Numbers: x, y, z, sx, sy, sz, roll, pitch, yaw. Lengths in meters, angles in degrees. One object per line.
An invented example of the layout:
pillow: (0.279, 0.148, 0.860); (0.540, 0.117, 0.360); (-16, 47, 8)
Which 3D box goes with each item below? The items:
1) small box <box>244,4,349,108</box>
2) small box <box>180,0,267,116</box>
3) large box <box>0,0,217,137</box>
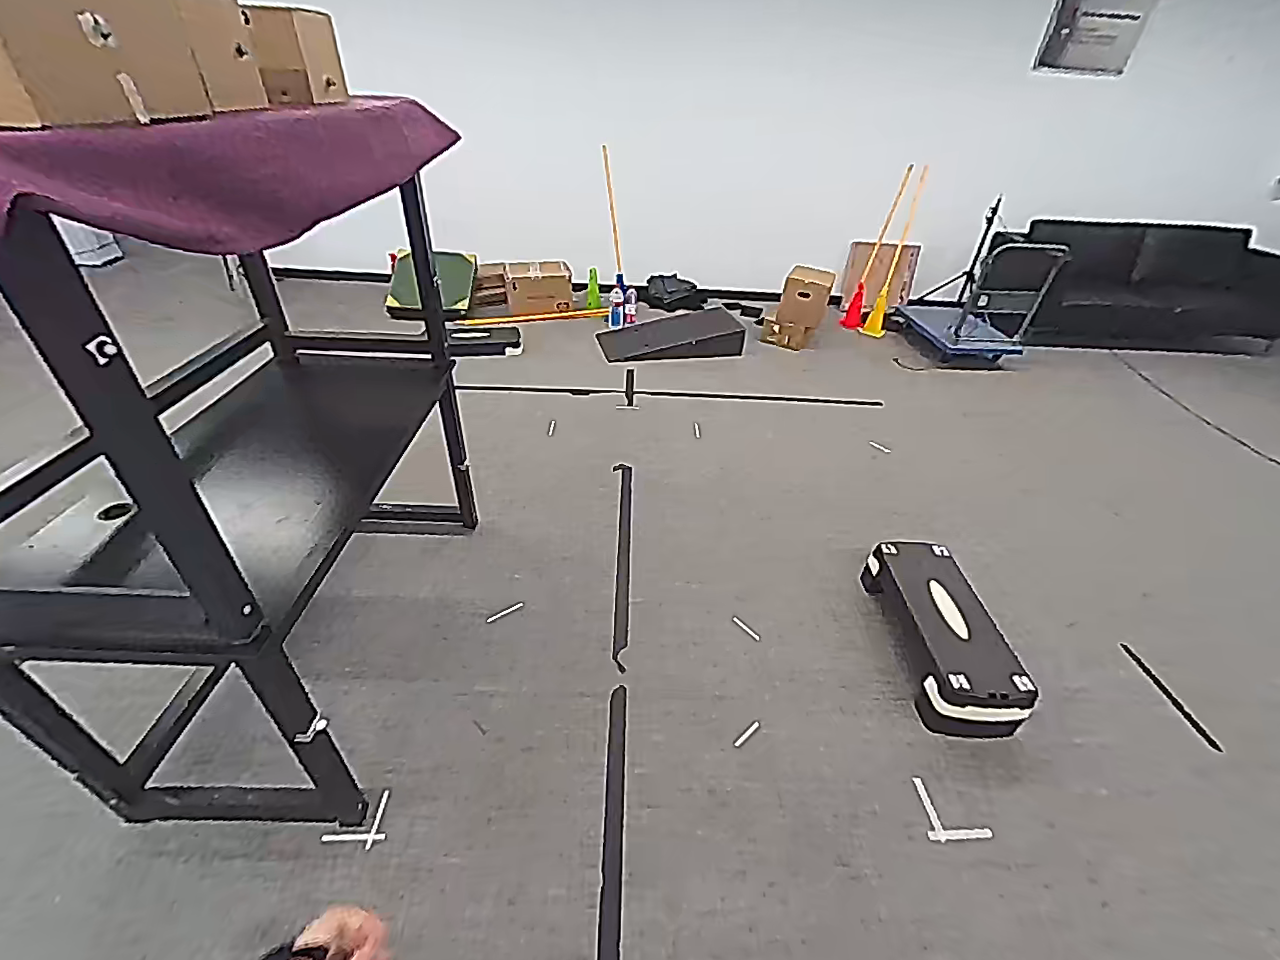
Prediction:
small box: (-0.788, -0.955, 1.225); (0.168, 0.176, 0.179); (3, 36, 1)
small box: (-0.792, -0.743, 0.940); (0.168, 0.176, 0.179); (2, 36, -1)
large box: (-0.821, -0.584, 0.605); (0.408, 0.320, 0.320); (0, 35, -3)
